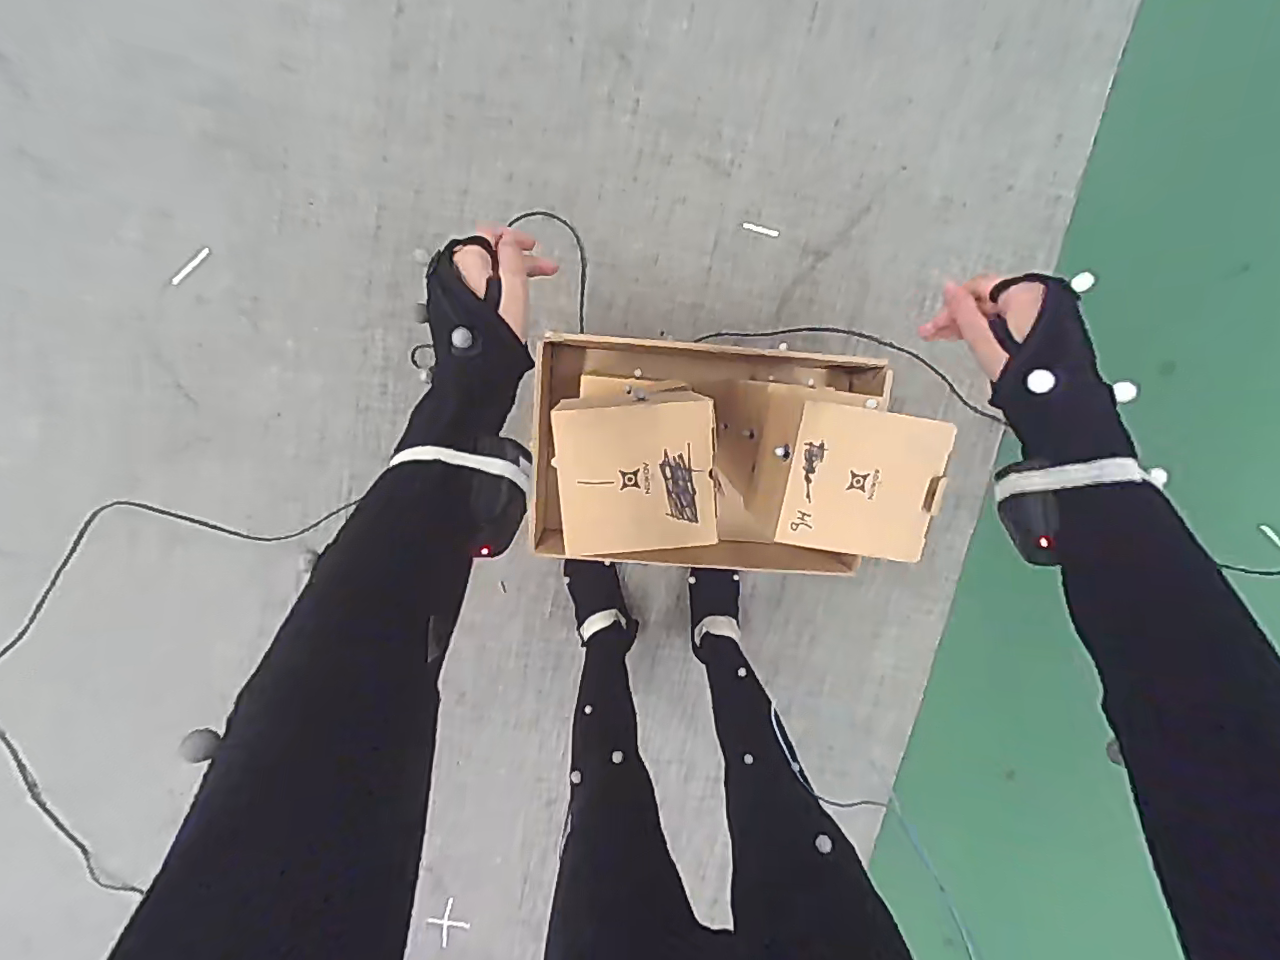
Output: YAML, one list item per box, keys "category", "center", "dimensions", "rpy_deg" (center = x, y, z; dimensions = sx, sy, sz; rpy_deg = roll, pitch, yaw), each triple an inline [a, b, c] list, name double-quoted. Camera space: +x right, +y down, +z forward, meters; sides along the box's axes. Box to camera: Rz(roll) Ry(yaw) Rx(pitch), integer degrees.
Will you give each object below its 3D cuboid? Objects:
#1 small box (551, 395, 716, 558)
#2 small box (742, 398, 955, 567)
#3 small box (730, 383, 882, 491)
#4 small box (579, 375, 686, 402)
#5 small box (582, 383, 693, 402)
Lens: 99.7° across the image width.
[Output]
- category: "small box"
  center: [-0.009, -0.014, 0.671]
  dimensions: [0.179, 0.176, 0.168]
  rpy_deg: [-4, 102, -2]
- category: "small box"
  center: [0.244, -0.007, 0.679]
  dimensions: [0.179, 0.176, 0.168]
  rpy_deg: [9, 101, -4]
- category: "small box"
  center: [0.243, -0.054, 0.838]
  dimensions: [0.168, 0.176, 0.179]
  rpy_deg: [6, 102, -2]
- category: "small box"
  center: [-0.022, -0.102, 0.986]
  dimensions: [0.179, 0.176, 0.168]
  rpy_deg: [4, 102, -5]
- category: "small box"
  center: [-0.006, -0.051, 0.832]
  dimensions: [0.179, 0.176, 0.168]
  rpy_deg: [-12, 103, -1]
